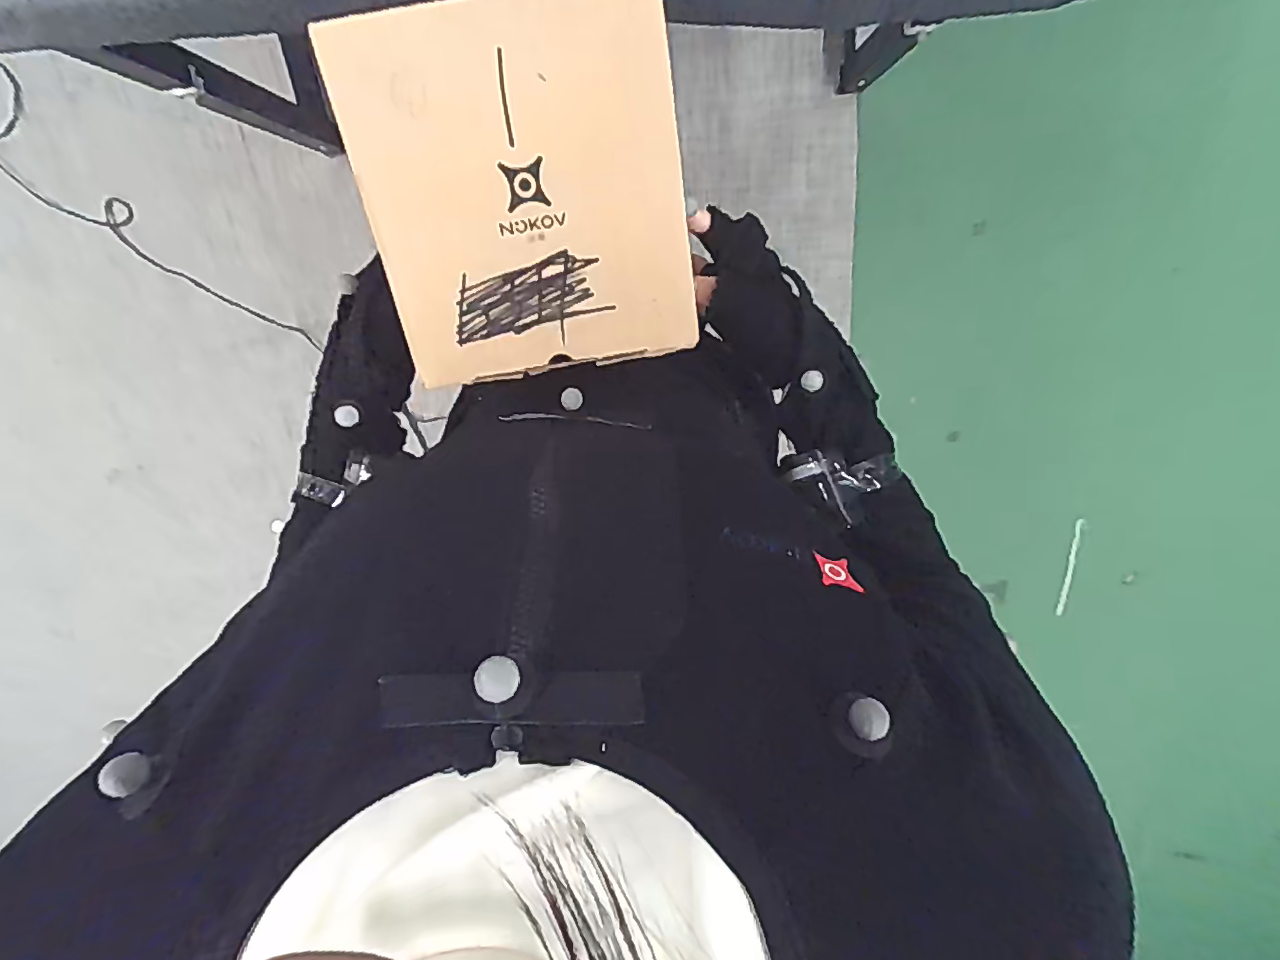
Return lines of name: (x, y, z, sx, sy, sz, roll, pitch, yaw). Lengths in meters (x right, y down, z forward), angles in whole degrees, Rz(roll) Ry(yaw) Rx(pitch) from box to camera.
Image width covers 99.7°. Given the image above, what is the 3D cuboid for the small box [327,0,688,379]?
small box: (-0.063, -0.180, 0.364, 0.168, 0.176, 0.179, -8, 113, 0)
